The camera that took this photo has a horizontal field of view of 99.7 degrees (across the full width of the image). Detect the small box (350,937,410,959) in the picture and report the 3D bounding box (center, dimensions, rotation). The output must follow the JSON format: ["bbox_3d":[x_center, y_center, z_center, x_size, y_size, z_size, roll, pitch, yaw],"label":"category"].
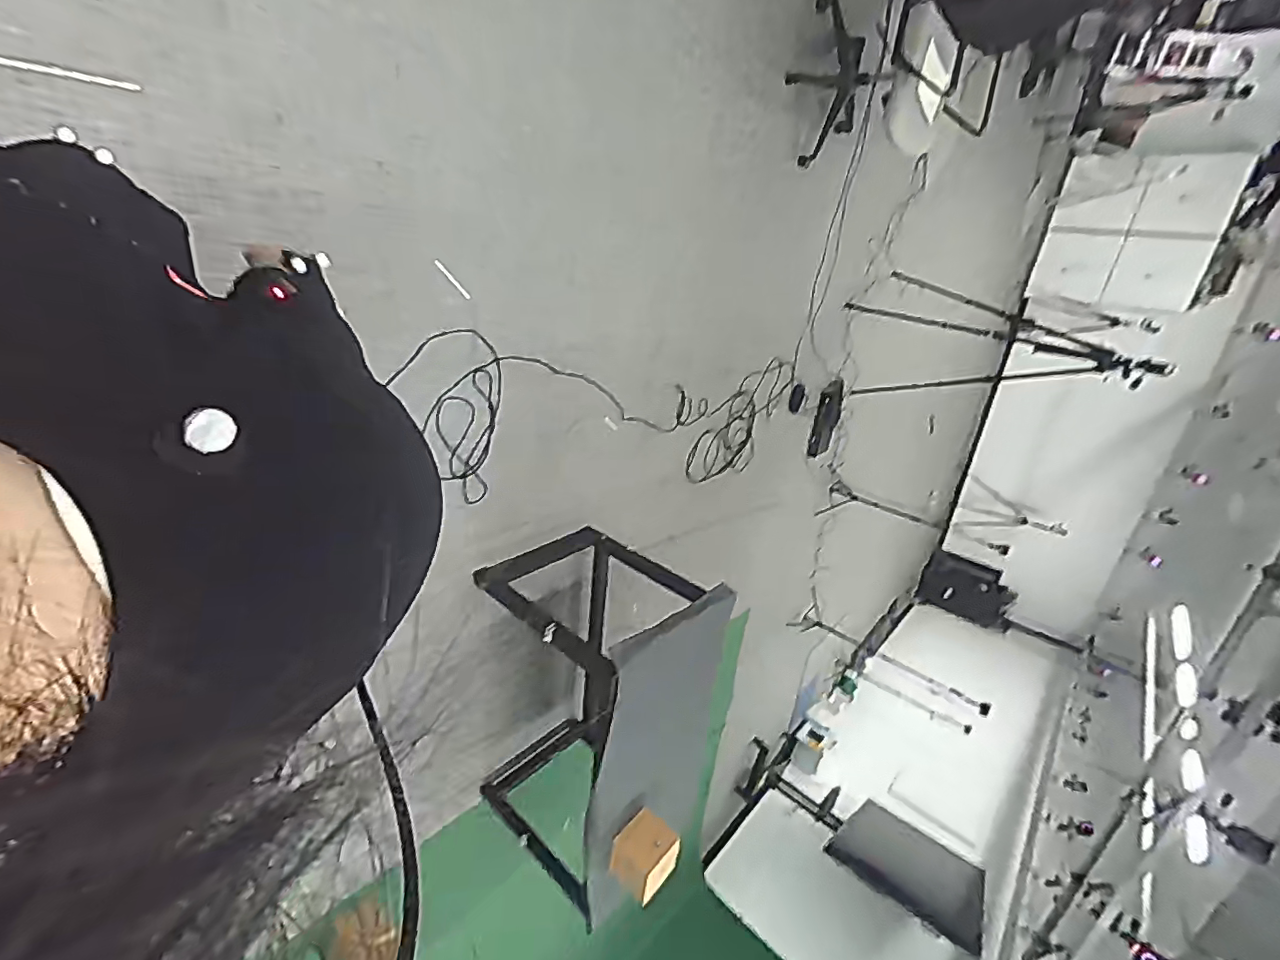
[{"bbox_3d":[-0.948,1.781,1.924,0.168,0.176,0.179,38,79,-51],"label":"small box"}]

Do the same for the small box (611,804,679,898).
[{"bbox_3d":[0.014,1.302,1.909,0.179,0.176,0.168,-21,124,-46],"label":"small box"}]

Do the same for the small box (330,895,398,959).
[{"bbox_3d":[-1.047,1.727,2.045,0.168,0.176,0.179,4,106,-51],"label":"small box"}]
